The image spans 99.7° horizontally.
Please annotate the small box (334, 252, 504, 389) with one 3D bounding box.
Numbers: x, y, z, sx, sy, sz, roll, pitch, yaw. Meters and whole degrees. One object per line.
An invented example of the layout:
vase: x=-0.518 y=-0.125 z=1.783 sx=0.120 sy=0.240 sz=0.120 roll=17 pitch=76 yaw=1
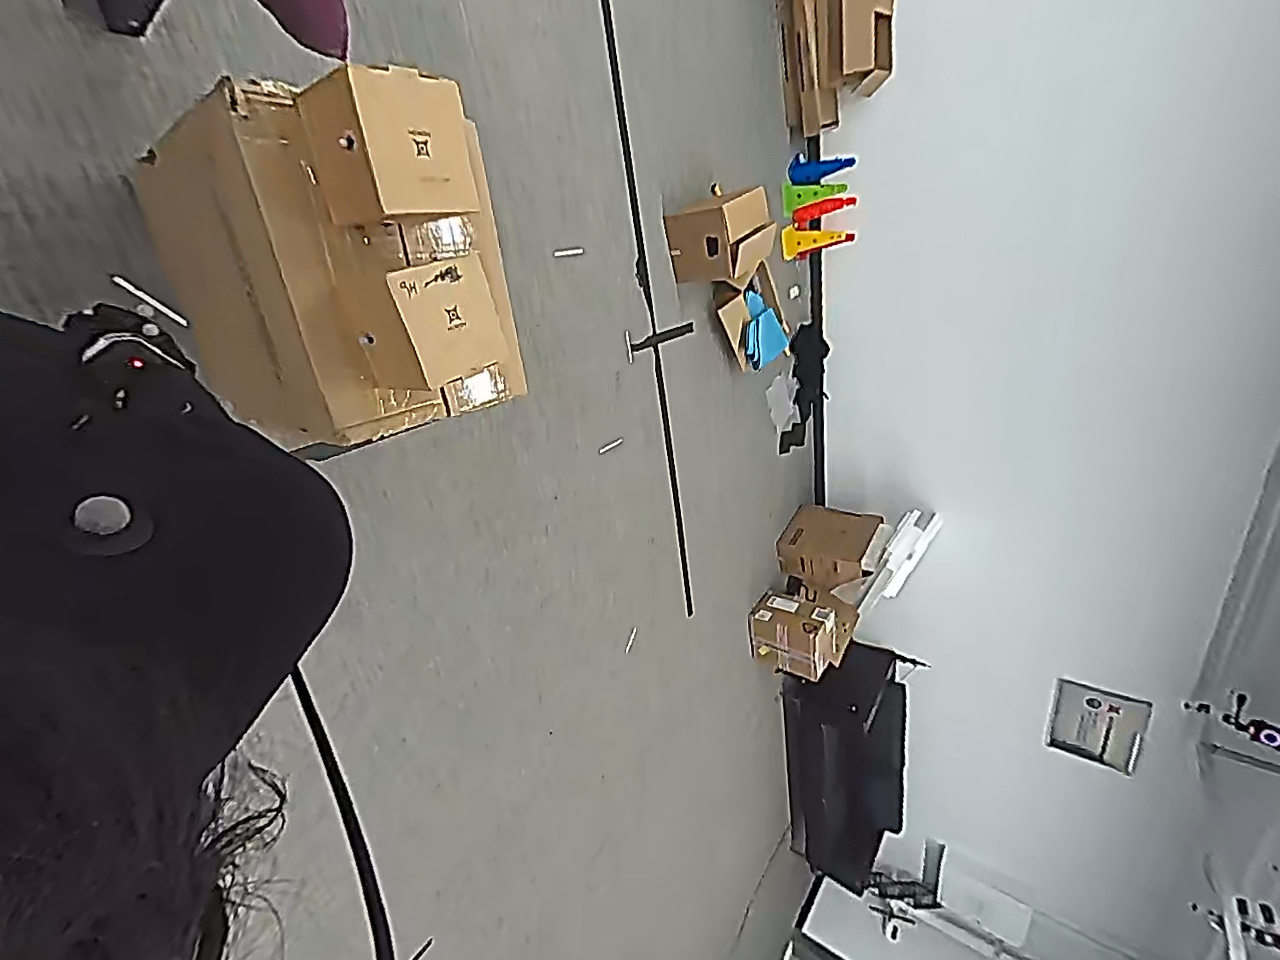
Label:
small box: x=-0.360 y=-0.262 z=0.888 sx=0.168 sy=0.176 sz=0.179 roll=-38 pitch=126 yaw=-41
